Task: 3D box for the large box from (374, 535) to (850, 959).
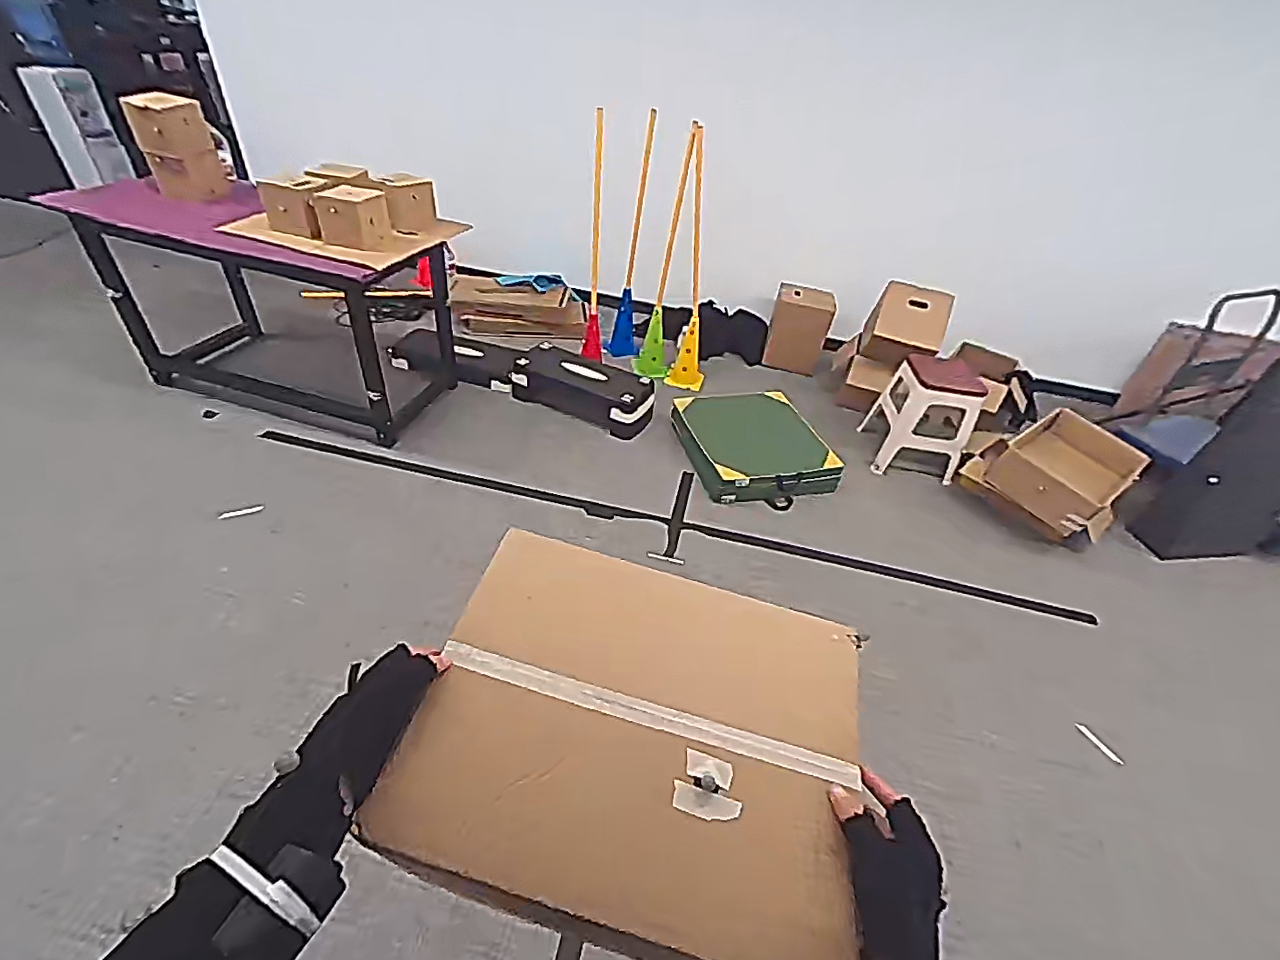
[{"bbox_3d":[-0.014,0.319,0.636,0.408,0.320,0.320,16,50,4],"label":"large box"}]
